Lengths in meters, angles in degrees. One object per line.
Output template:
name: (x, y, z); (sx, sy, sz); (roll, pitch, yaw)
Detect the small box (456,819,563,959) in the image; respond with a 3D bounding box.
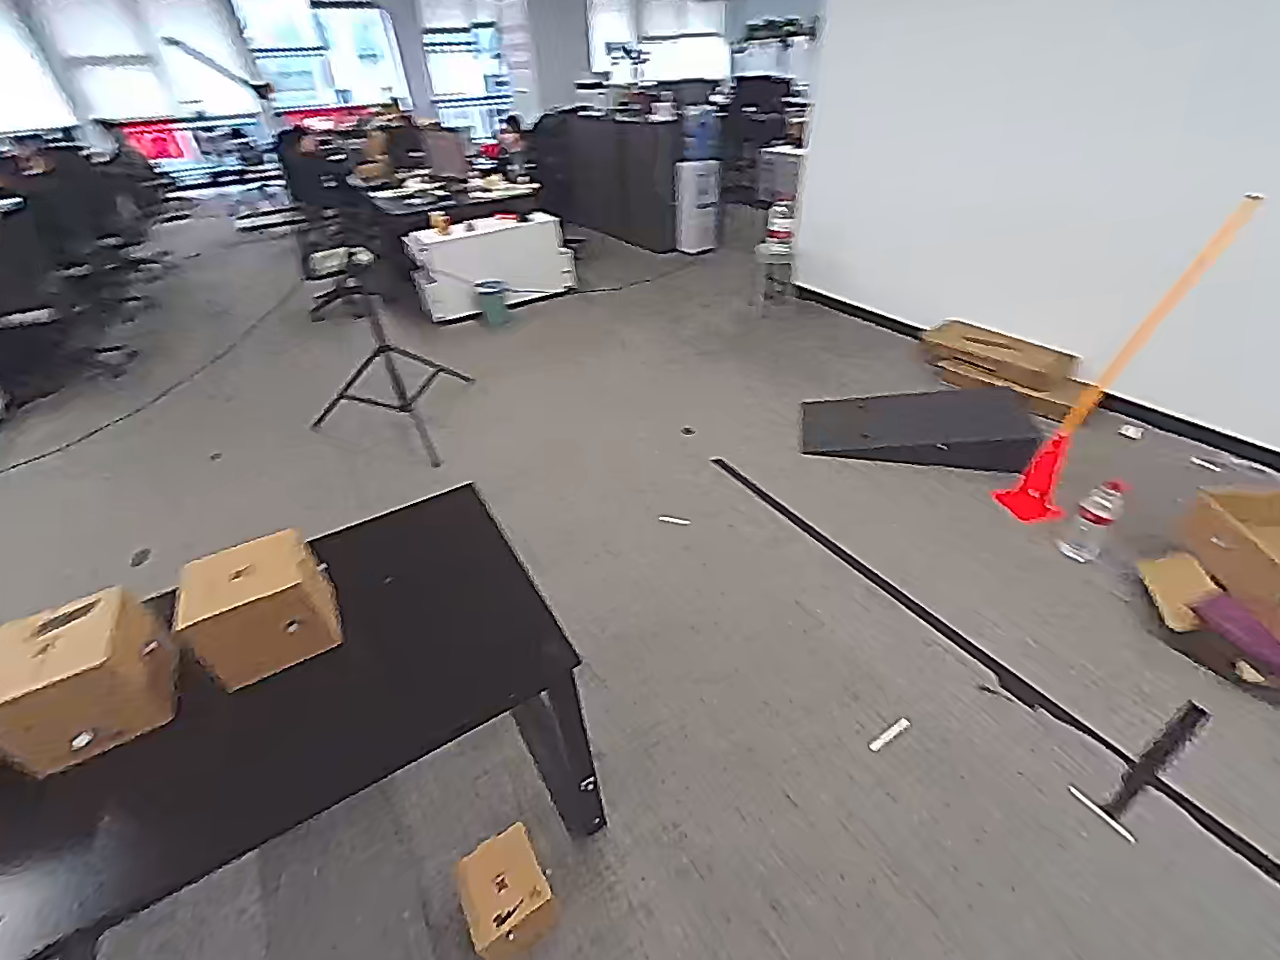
small box: (-0.288, 0.916, 1.206); (0.168, 0.176, 0.179); (-23, 41, -23)

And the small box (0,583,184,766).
small box: (-0.860, 0.302, 0.852); (0.168, 0.176, 0.179); (-23, 42, -23)

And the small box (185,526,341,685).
small box: (-0.648, 0.218, 0.950); (0.179, 0.176, 0.168); (-23, 40, -22)
